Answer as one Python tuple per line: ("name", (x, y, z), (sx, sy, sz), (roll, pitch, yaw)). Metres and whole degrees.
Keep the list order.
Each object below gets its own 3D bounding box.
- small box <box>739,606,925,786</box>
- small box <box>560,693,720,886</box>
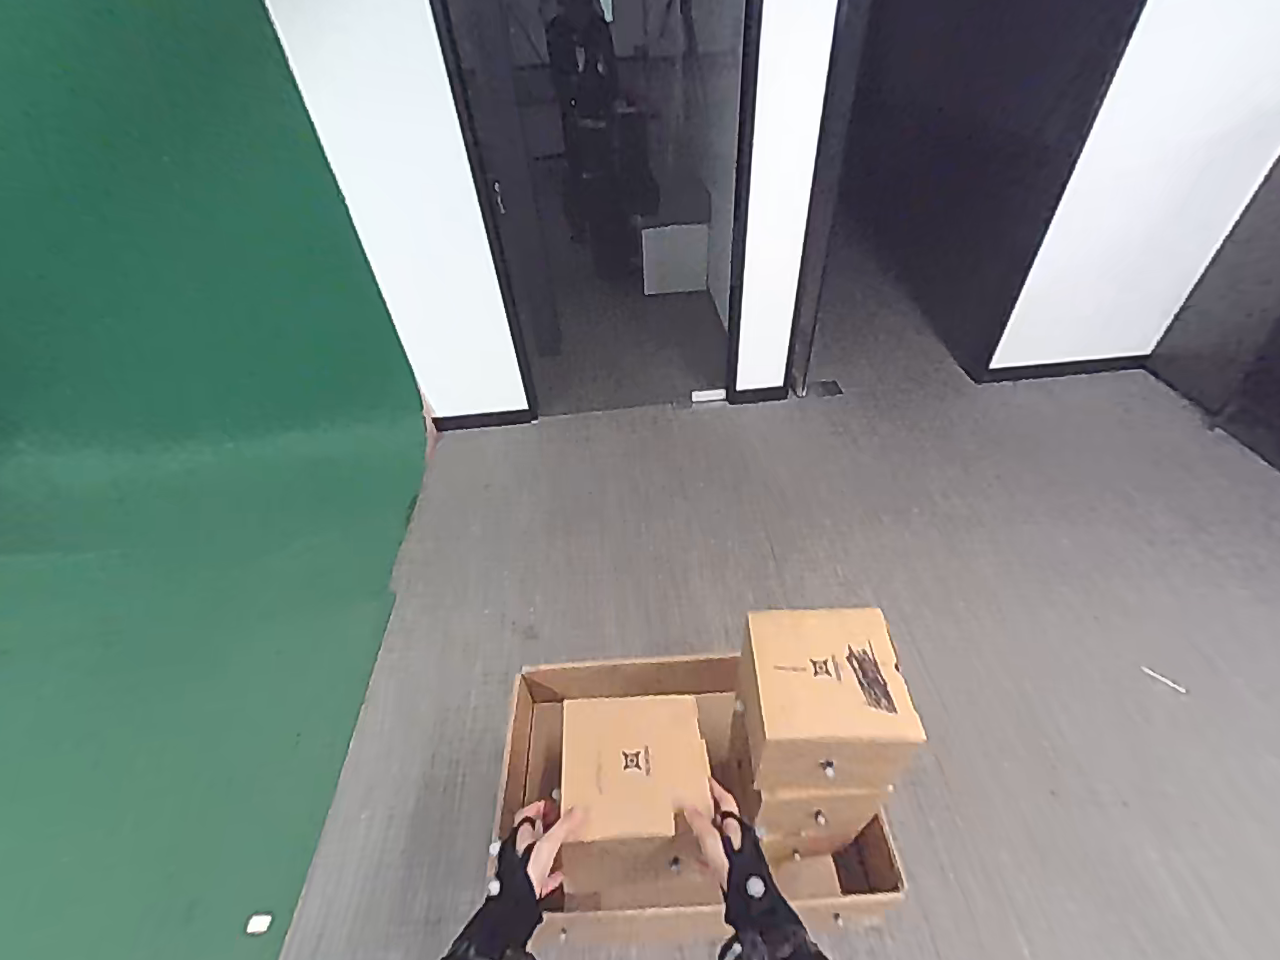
("small box", (0.229, 0.280, 0.699), (0.179, 0.176, 0.168), (-2, 43, 3))
("small box", (-0.009, 0.394, 0.691), (0.179, 0.176, 0.168), (0, 38, -5))
